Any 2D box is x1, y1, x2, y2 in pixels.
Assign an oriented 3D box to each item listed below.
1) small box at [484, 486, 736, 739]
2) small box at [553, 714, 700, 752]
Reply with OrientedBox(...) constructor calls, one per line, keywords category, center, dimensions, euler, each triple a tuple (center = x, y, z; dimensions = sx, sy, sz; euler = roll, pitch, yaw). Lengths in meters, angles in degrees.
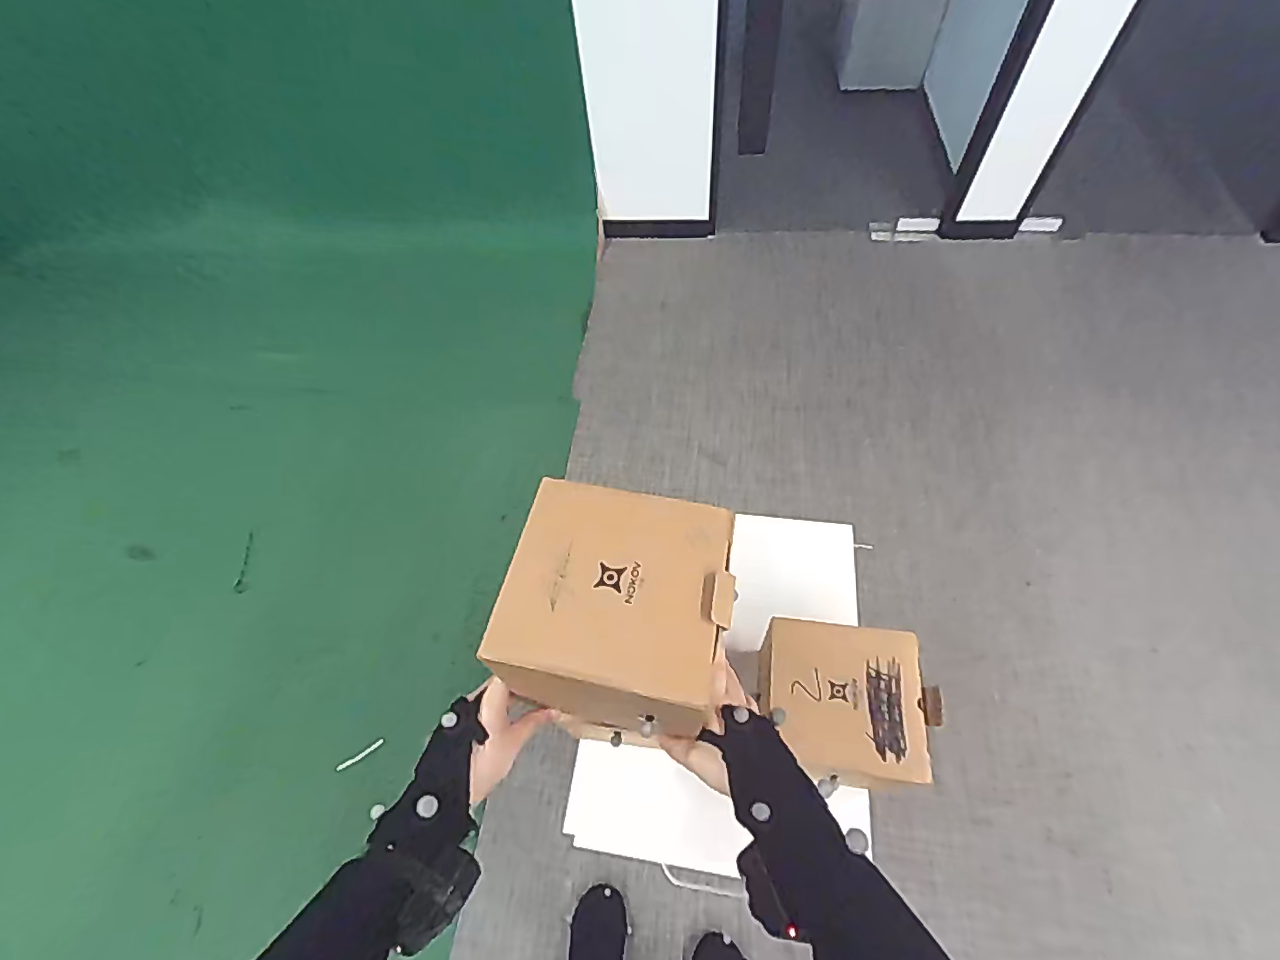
OrientedBox(category="small box", center=(-0.015, 0.130, 0.504), dimensions=(0.179, 0.176, 0.168), euler=(9, 56, 8))
OrientedBox(category="small box", center=(-0.002, 0.265, 0.736), dimensions=(0.179, 0.176, 0.168), euler=(5, 59, 6))
